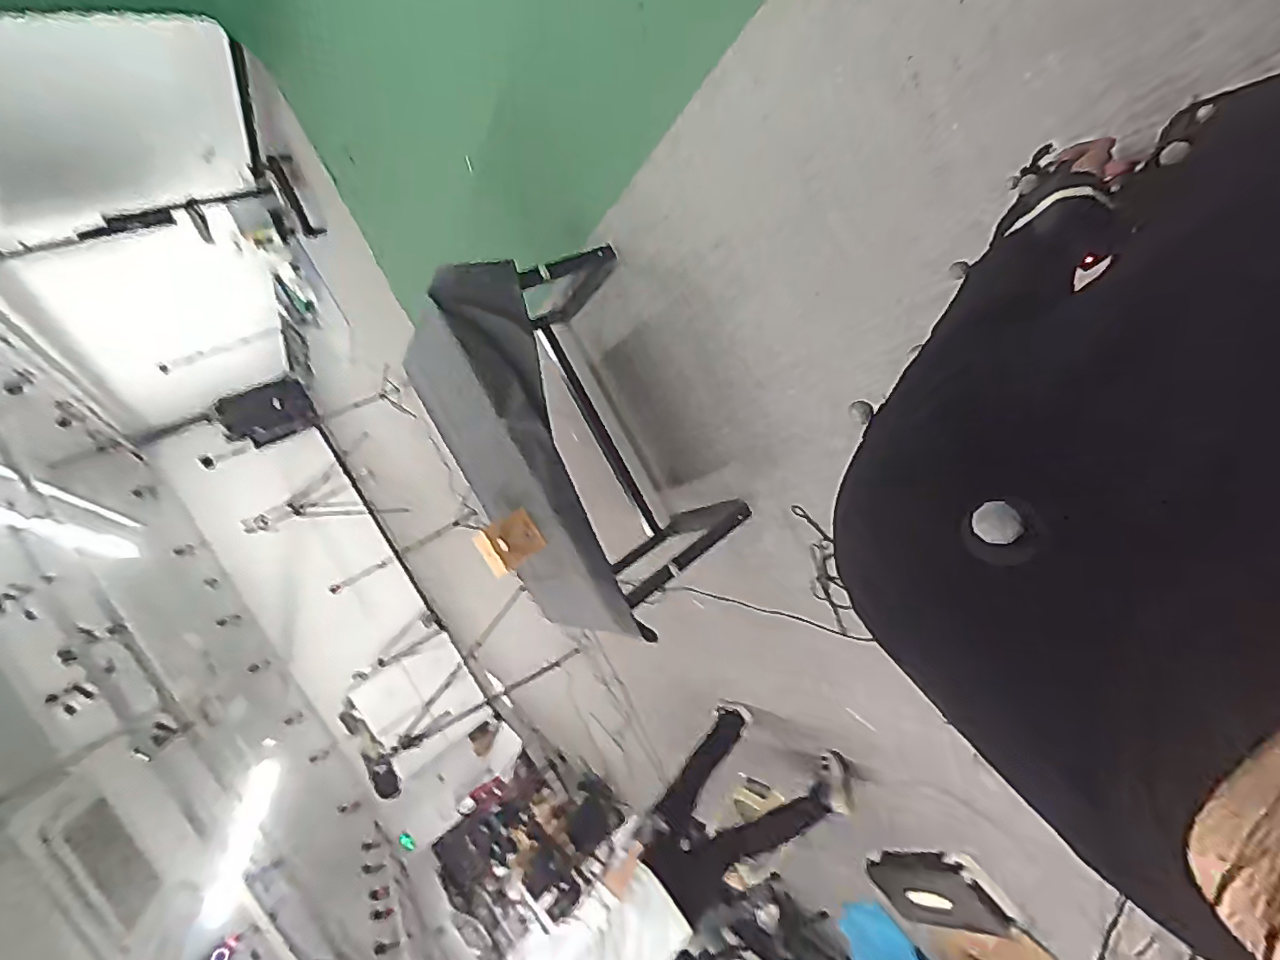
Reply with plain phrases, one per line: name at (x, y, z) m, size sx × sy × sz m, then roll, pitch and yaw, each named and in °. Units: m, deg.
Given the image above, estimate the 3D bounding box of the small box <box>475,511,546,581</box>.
small box at (-0.452, 0.232, 1.895) m, size 0.168 × 0.176 × 0.179 m, roll 57°, pitch 148°, yaw 2°
